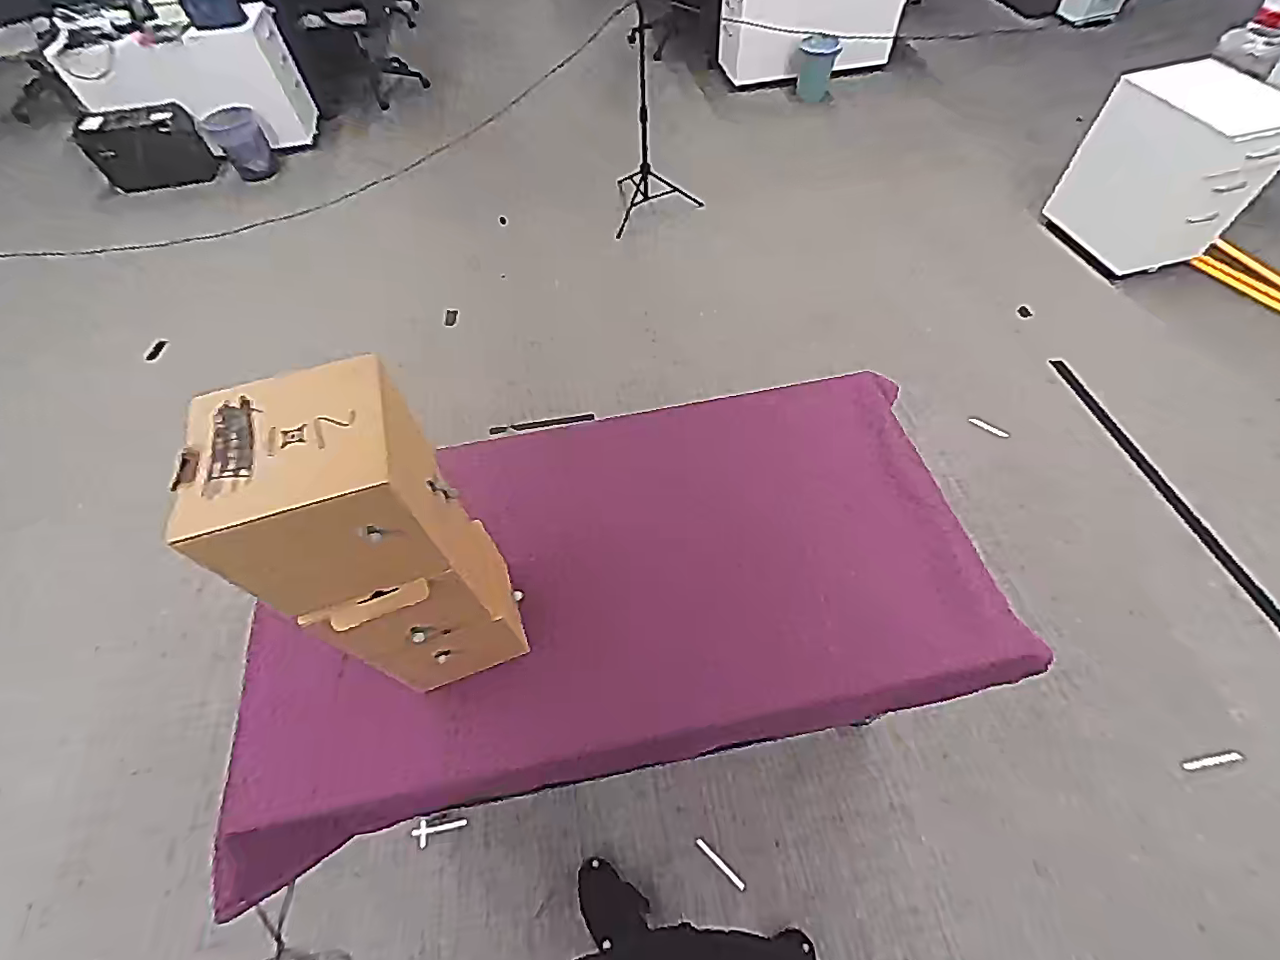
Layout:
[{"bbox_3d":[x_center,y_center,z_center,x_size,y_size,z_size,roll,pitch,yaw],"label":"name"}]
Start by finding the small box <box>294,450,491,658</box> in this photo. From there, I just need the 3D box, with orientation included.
[{"bbox_3d":[-0.305,0.097,0.684,0.168,0.176,0.179,-20,59,-9],"label":"small box"}]

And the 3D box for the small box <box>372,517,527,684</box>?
[{"bbox_3d":[-0.289,0.188,0.820,0.179,0.176,0.168,-18,59,-10],"label":"small box"}]
